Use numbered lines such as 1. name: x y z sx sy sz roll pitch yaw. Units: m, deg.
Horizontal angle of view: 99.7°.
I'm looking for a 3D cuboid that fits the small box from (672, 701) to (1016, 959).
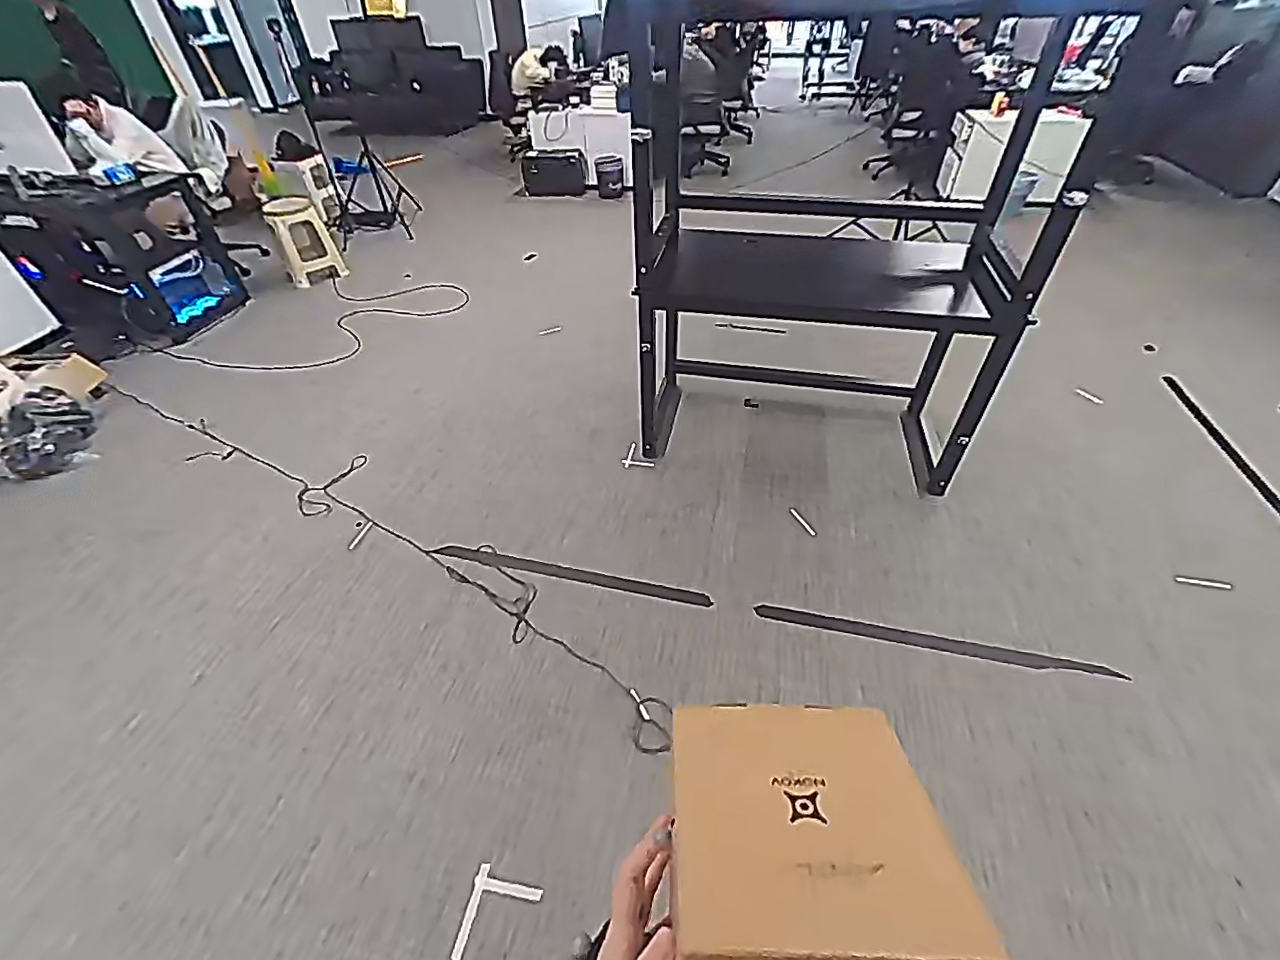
1. small box: 0.107 0.282 0.373 0.168 0.176 0.179 0 20 2
